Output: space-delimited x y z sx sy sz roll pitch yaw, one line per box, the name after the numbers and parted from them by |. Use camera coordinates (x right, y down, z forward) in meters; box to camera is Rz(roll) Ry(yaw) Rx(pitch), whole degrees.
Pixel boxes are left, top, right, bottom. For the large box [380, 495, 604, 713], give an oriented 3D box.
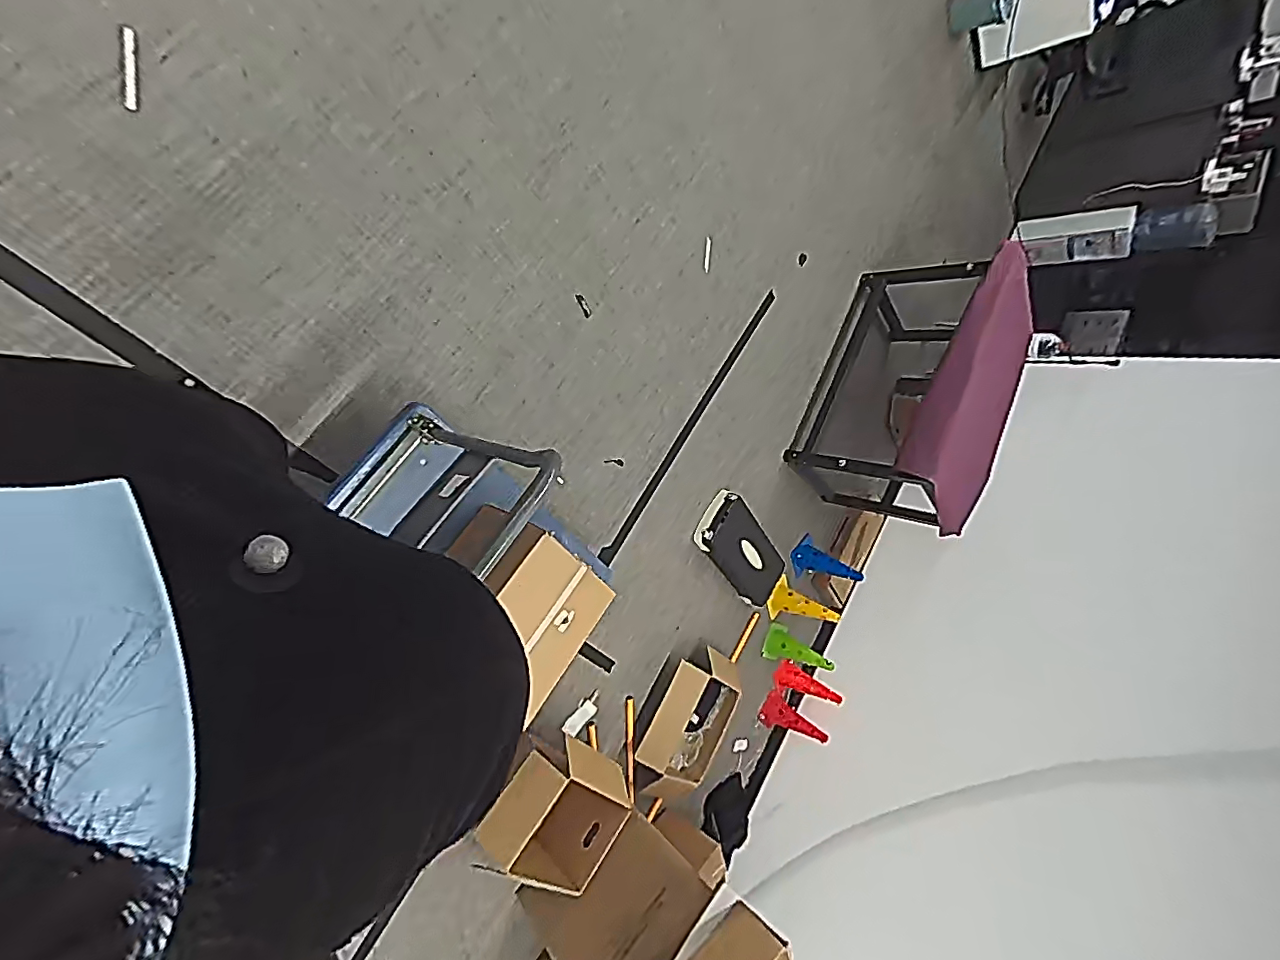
-0.377 0.307 1.399 0.408 0.320 0.320 -56 132 -19 | large box
